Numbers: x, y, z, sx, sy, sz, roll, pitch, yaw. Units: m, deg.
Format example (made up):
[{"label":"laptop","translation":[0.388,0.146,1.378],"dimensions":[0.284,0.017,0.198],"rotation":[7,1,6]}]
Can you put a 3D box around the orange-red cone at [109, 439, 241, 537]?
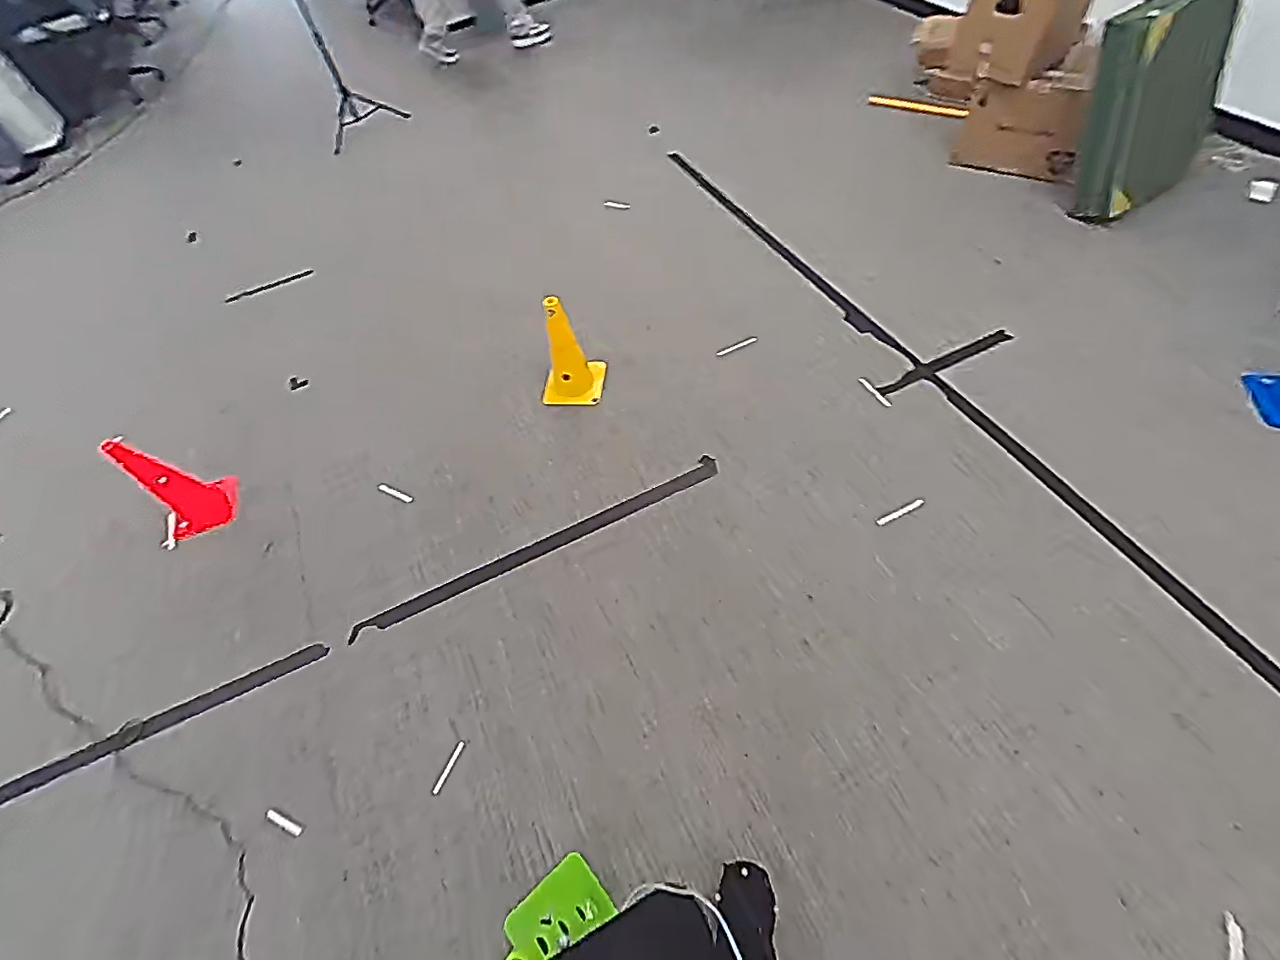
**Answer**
[{"label":"orange-red cone","translation":[-1.459,-0.008,1.669],"dimensions":[0.199,0.360,0.198],"rotation":[-18,57,-5]}]

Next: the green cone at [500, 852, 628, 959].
[{"label":"green cone","translation":[-0.173,0.822,0.957],"dimensions":[0.202,0.368,0.200],"rotation":[-39,60,-16]}]
